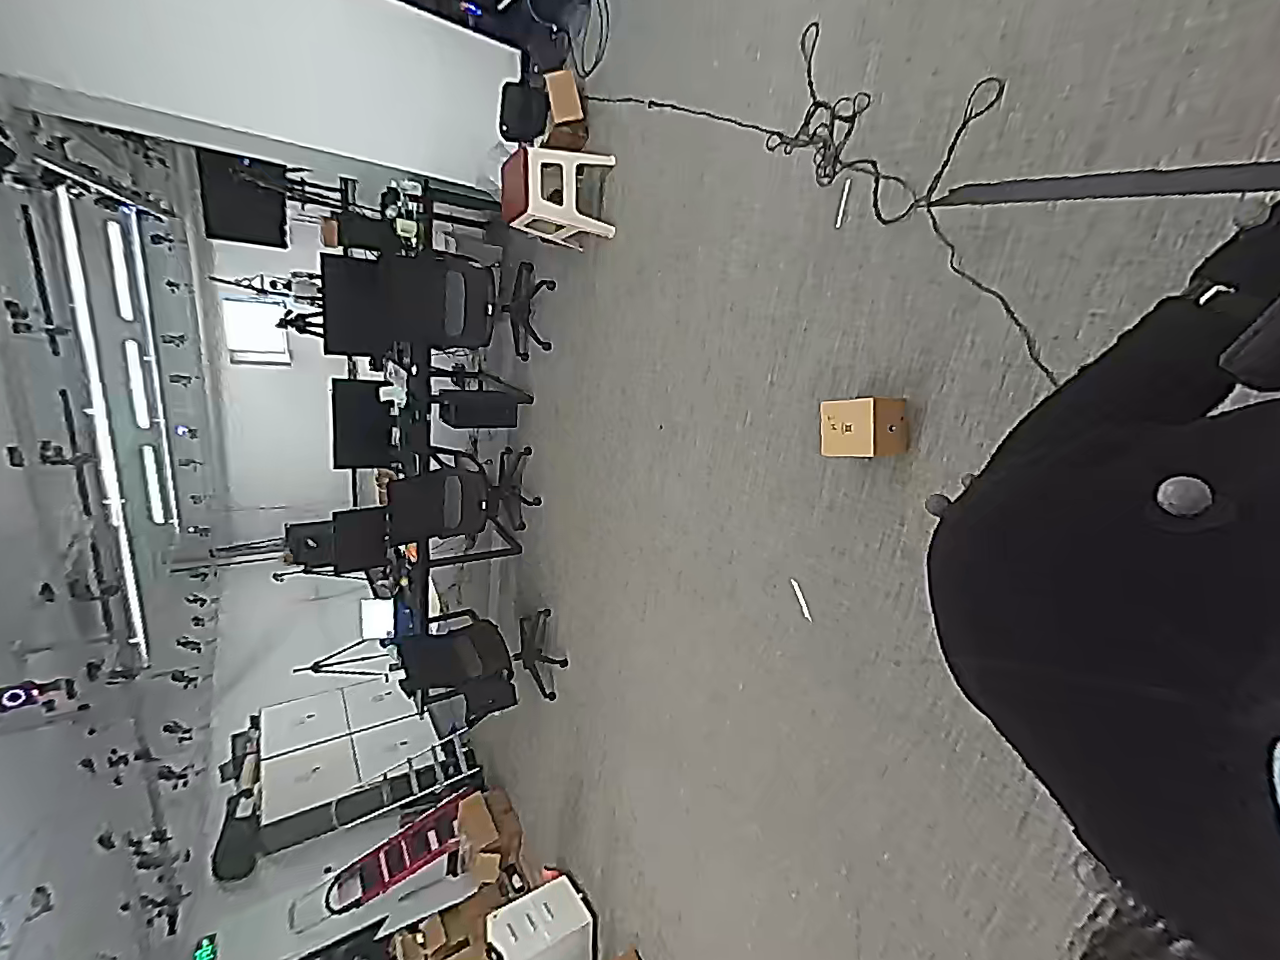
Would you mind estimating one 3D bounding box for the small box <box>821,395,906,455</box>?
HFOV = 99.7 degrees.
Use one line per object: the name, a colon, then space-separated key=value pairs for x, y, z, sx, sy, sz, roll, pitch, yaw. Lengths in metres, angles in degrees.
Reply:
small box: x=0.660 y=-0.163 z=1.594 sx=0.179 sy=0.176 sz=0.168 roll=6 pitch=99 yaw=56
